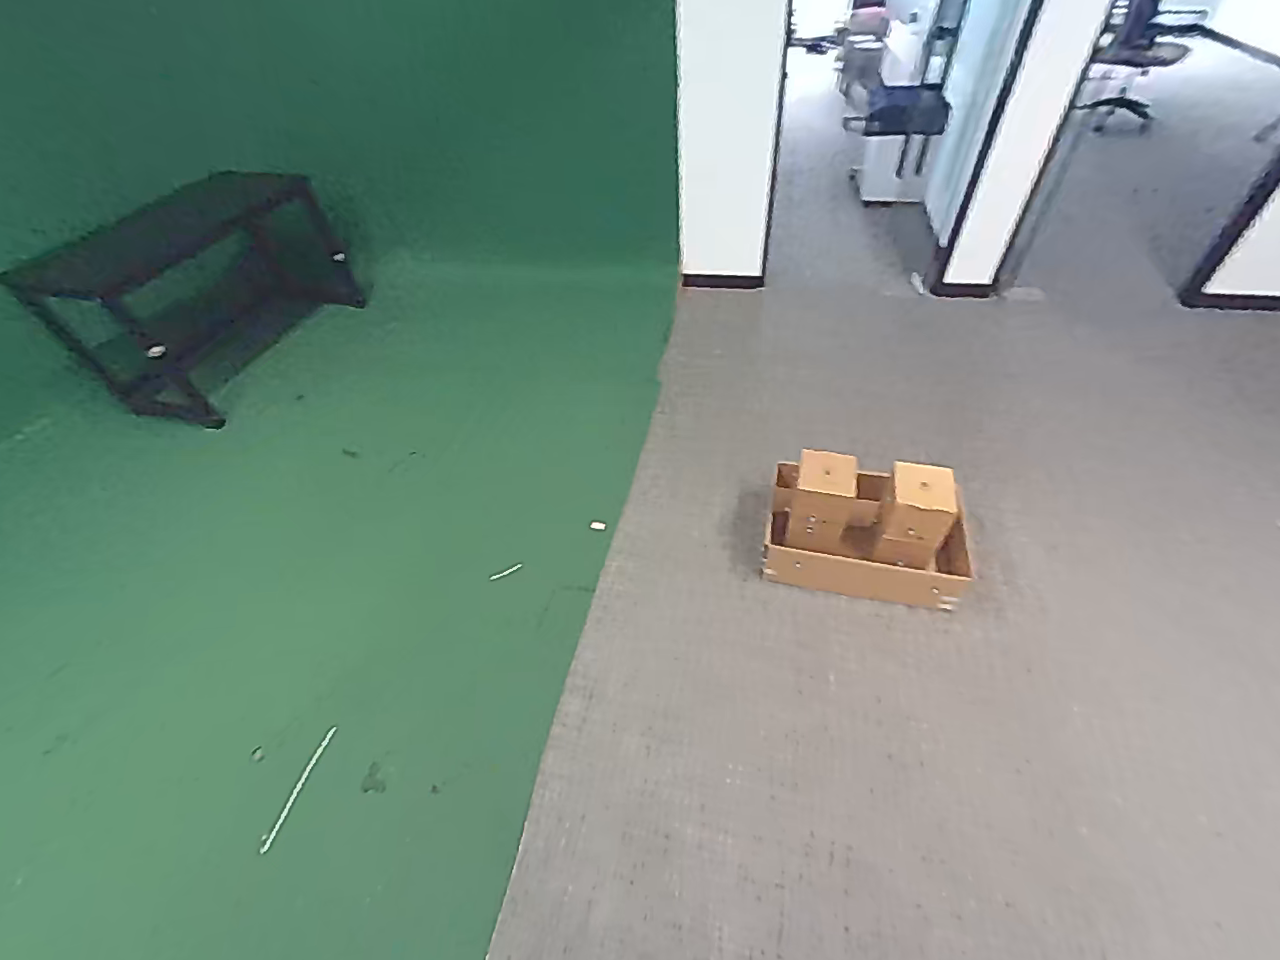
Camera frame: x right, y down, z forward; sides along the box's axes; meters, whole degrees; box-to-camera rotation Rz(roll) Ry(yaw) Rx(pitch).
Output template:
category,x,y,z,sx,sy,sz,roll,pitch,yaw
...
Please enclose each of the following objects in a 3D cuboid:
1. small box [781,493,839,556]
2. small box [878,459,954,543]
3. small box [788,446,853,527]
category,x,y,z,sx,sy,sz,roll,pitch,yaw
small box,0.578,0.129,1.836,0.168,0.176,0.179,10,49,13
small box,0.837,0.065,1.656,0.168,0.176,0.179,9,50,13
small box,0.569,0.022,1.714,0.168,0.176,0.179,10,50,13
